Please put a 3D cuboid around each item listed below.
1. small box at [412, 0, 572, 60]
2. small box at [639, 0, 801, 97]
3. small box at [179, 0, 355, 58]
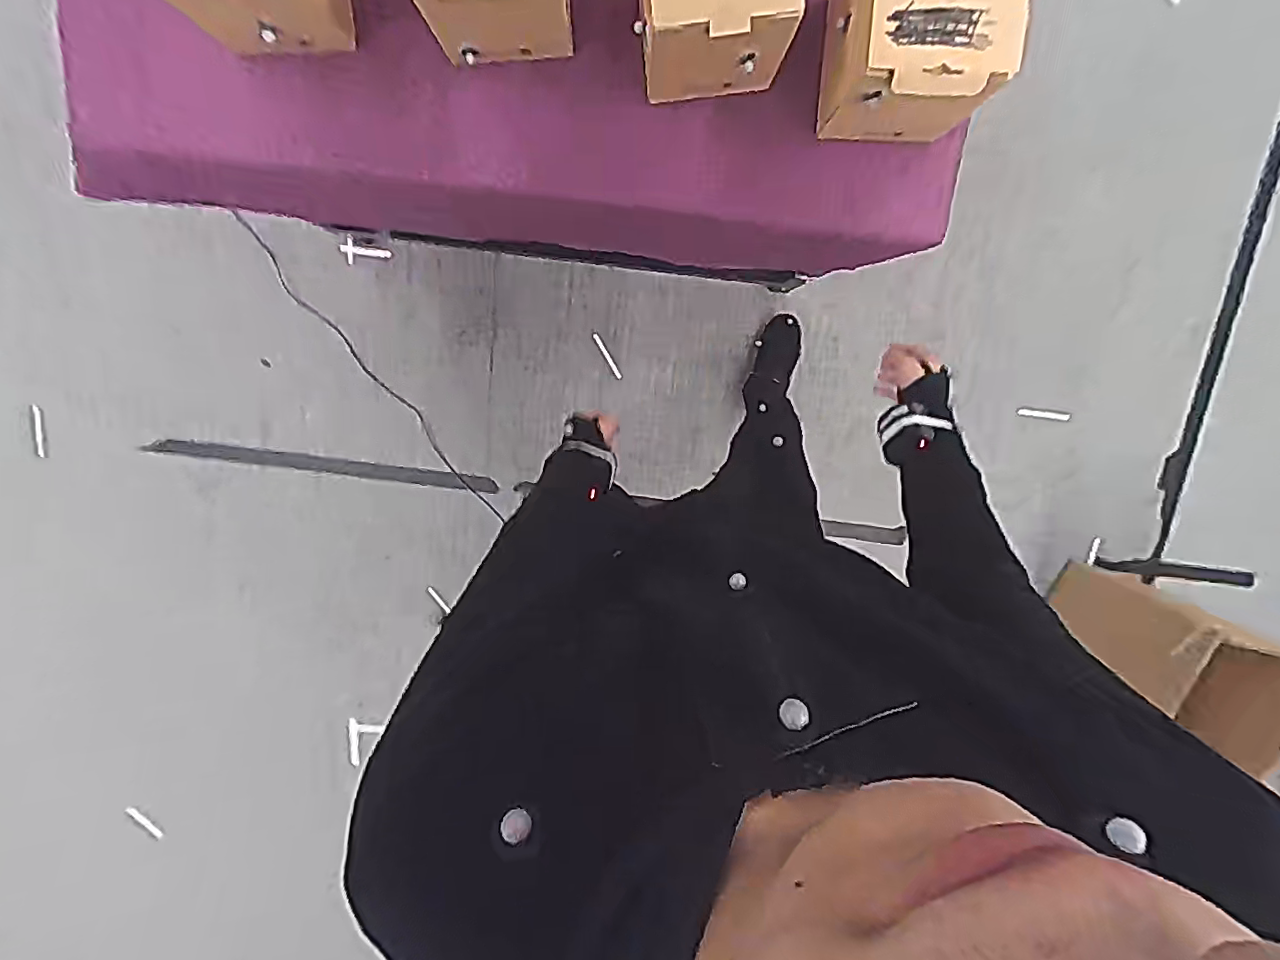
[{"bbox_3d":[-0.175,-0.626,0.630,0.168,0.176,0.179,-4,101,0],"label":"small box"},{"bbox_3d":[0.084,-0.588,0.642,0.168,0.176,0.179,-6,101,0],"label":"small box"},{"bbox_3d":[-0.458,-0.633,0.623,0.168,0.176,0.179,-2,102,0],"label":"small box"}]
